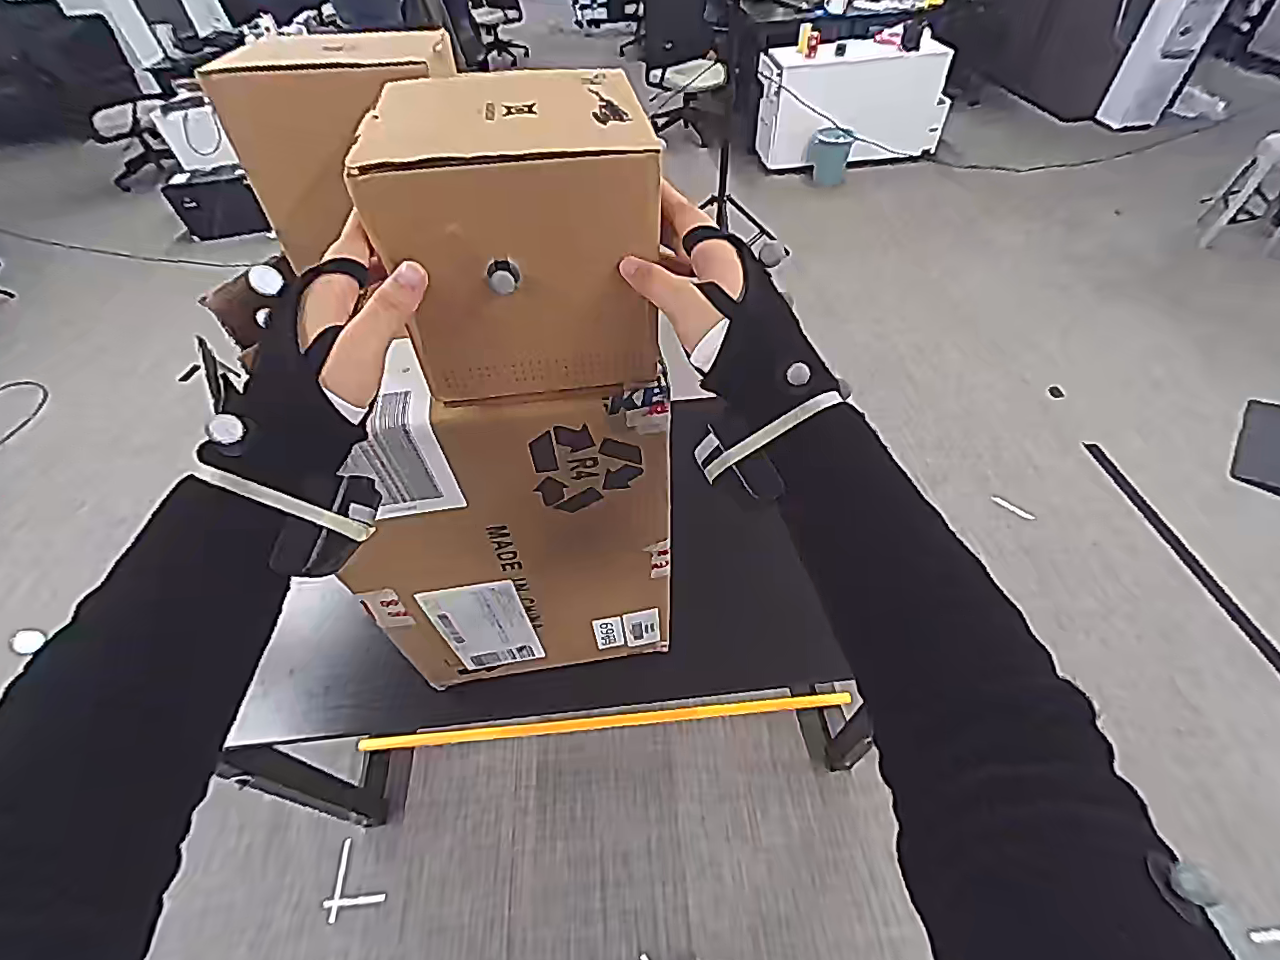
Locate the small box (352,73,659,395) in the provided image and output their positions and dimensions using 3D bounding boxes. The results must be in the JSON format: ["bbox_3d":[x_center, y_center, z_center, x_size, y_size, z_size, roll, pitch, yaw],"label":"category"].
[{"bbox_3d":[-0.084,-0.182,0.416,0.179,0.176,0.168,-8,52,-4],"label":"small box"}]

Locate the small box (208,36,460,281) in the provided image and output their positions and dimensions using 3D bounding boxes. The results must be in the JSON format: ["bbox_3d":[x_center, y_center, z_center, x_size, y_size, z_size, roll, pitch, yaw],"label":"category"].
[{"bbox_3d":[-0.260,-0.318,0.538,0.179,0.176,0.168,-7,46,-4],"label":"small box"}]
